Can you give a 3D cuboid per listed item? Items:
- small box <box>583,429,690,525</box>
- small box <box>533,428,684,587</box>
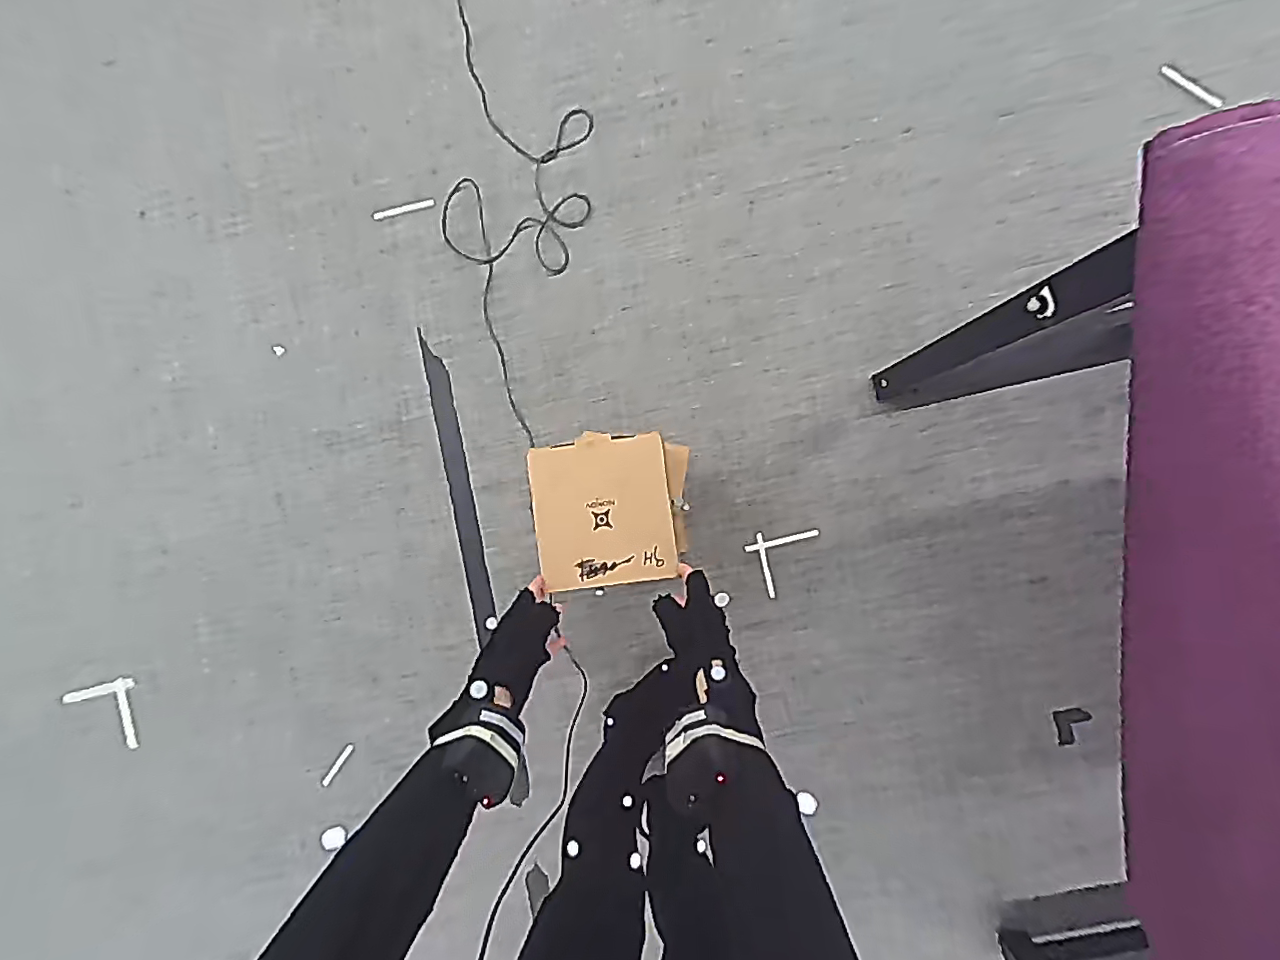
[{"bbox_3d":[-0.012,0.022,0.886,0.168,0.176,0.179,8,89,3],"label":"small box"},{"bbox_3d":[-0.035,0.040,0.718,0.168,0.176,0.179,-8,85,4],"label":"small box"}]
